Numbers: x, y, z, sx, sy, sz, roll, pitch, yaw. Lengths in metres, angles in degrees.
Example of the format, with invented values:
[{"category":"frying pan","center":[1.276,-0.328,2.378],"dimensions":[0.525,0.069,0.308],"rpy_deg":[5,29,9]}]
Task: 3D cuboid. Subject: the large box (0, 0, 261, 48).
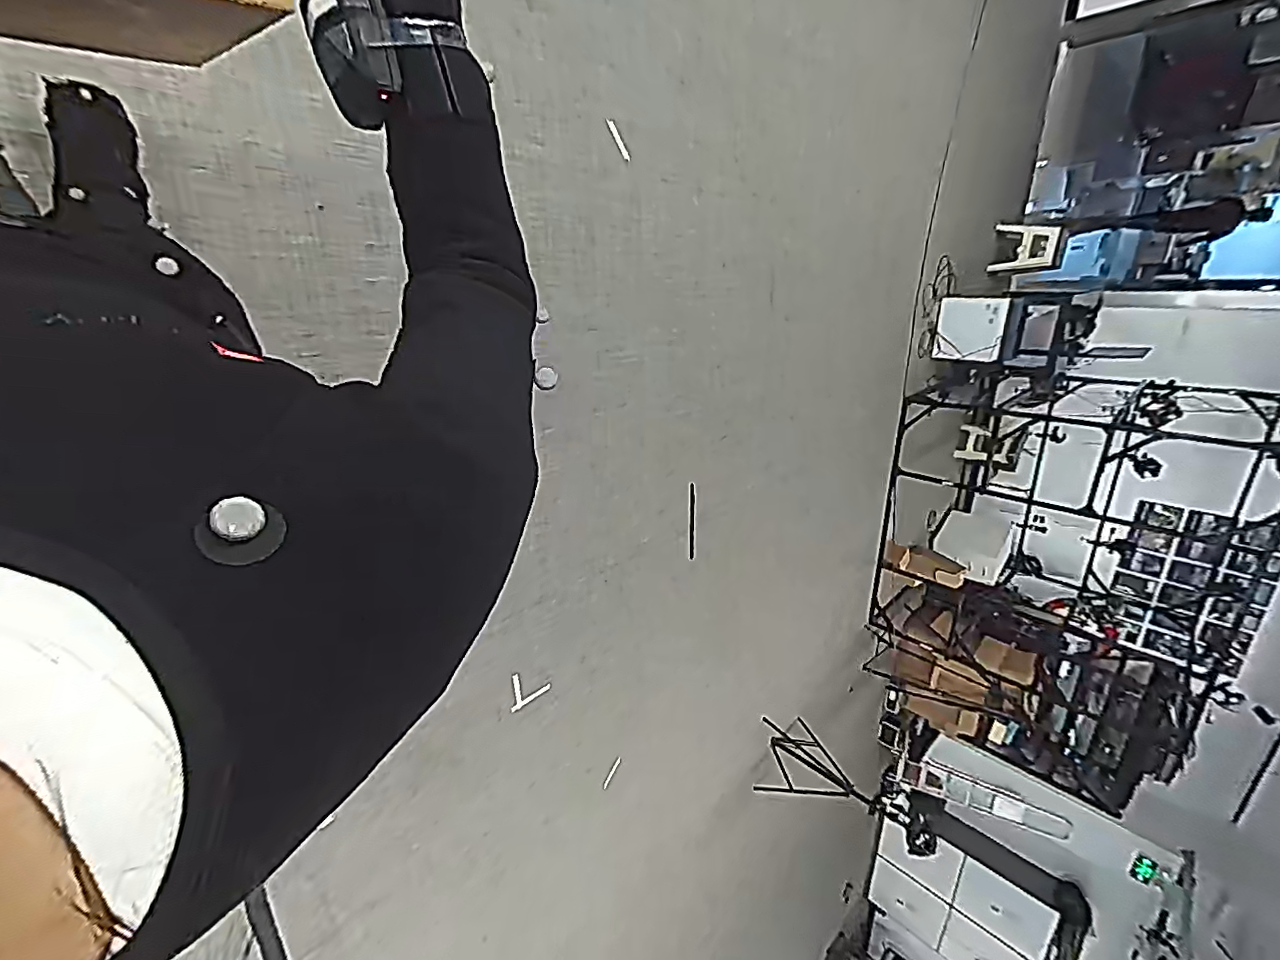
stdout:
[{"category":"large box","center":[-0.442,-0.407,0.207],"dimensions":[0.408,0.320,0.320],"rpy_deg":[-23,130,-39]}]
